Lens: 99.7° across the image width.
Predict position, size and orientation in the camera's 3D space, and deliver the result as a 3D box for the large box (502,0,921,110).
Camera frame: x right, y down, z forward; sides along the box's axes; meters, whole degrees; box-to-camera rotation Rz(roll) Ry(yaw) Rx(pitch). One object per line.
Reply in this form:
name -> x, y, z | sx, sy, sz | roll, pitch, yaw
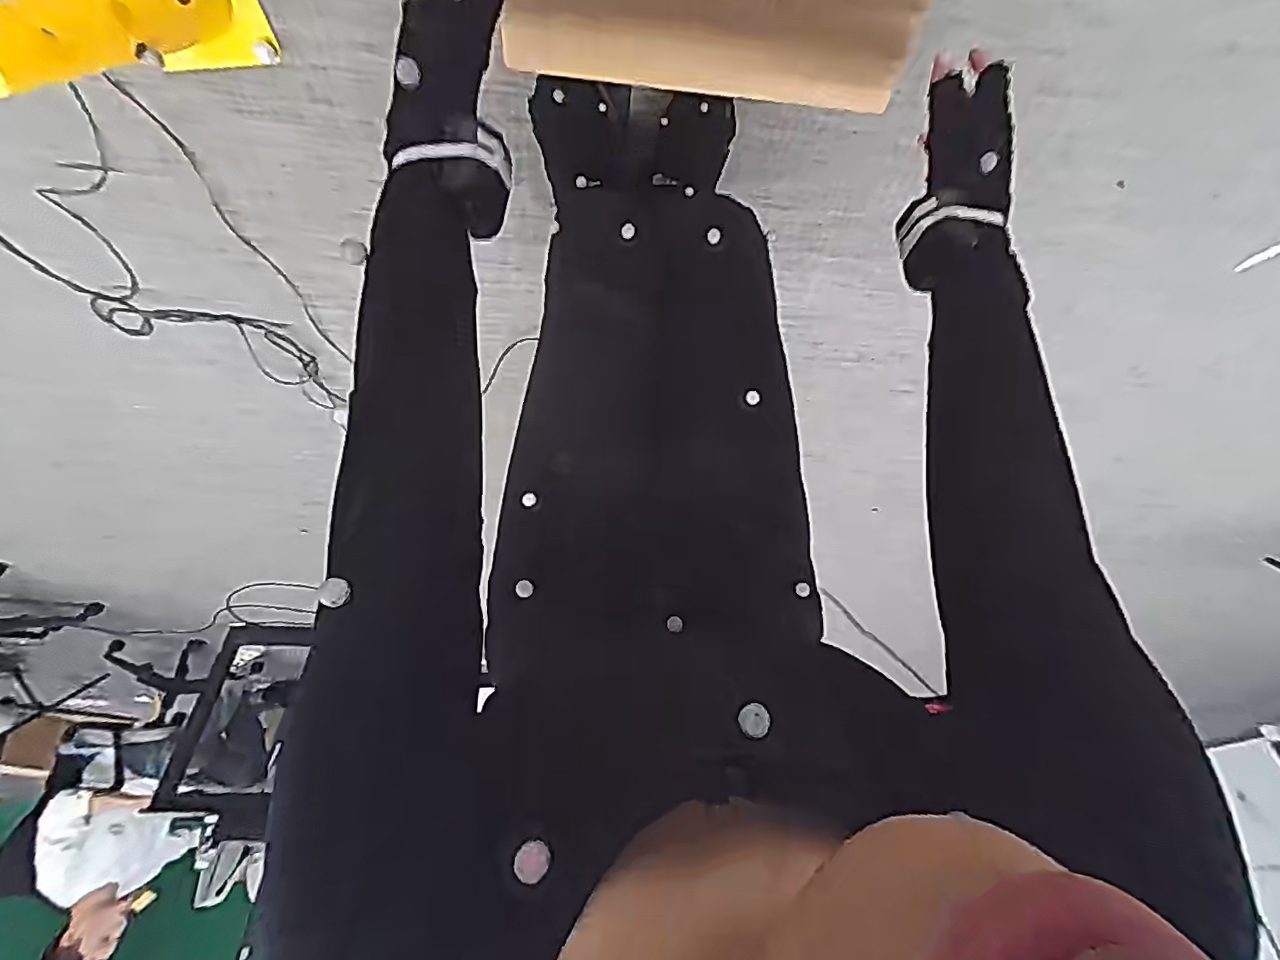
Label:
large box -> 0.069, -0.615, 0.539 | 0.408, 0.320, 0.320 | 2, 143, -6
